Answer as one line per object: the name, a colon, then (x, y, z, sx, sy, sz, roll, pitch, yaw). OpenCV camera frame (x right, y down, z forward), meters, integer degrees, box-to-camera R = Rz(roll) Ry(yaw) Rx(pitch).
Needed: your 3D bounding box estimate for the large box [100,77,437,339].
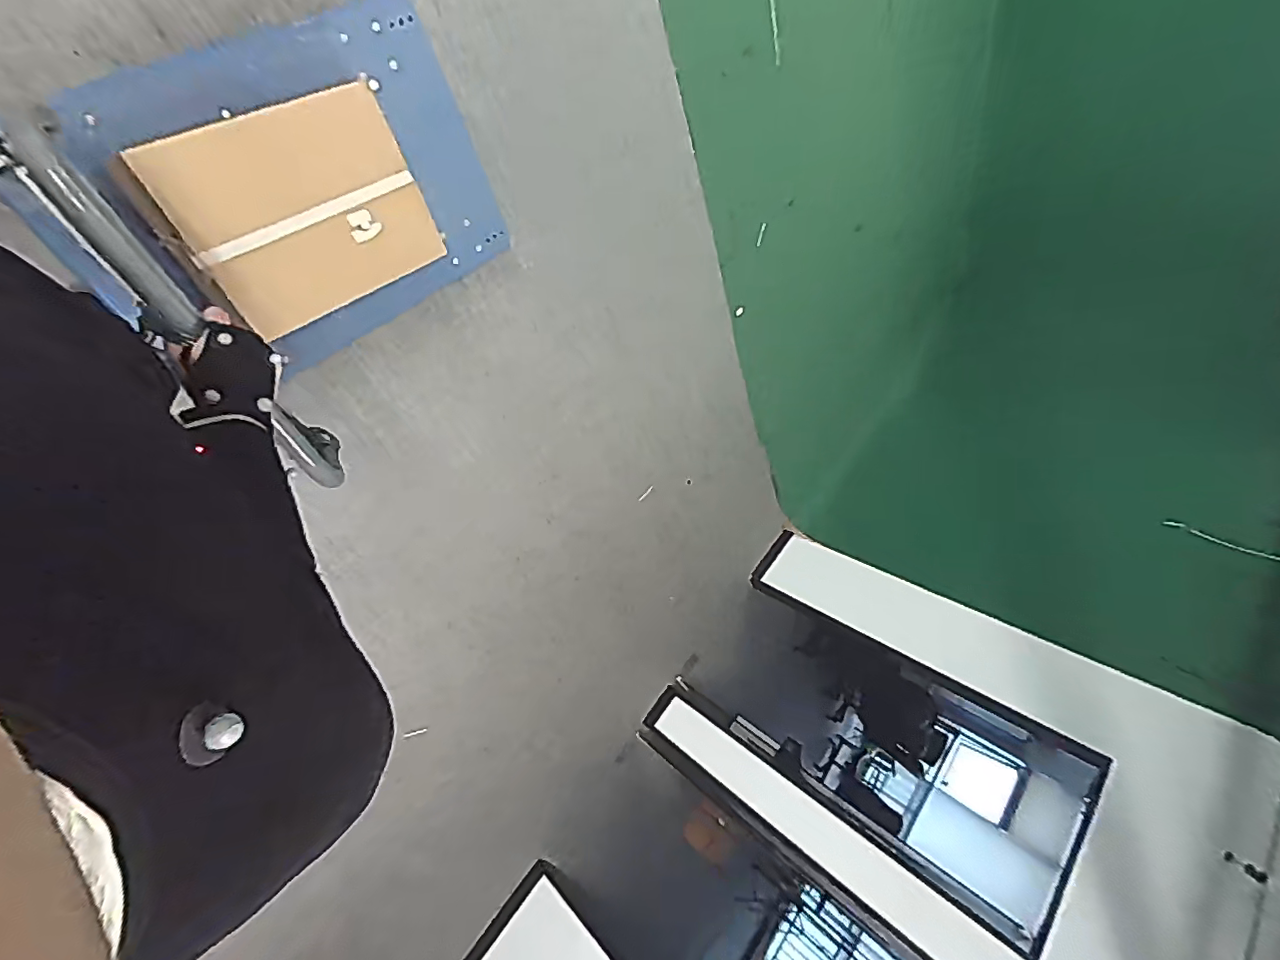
large box: (-0.702, -0.527, 1.057, 0.408, 0.320, 0.320, -43, 137, -27)
